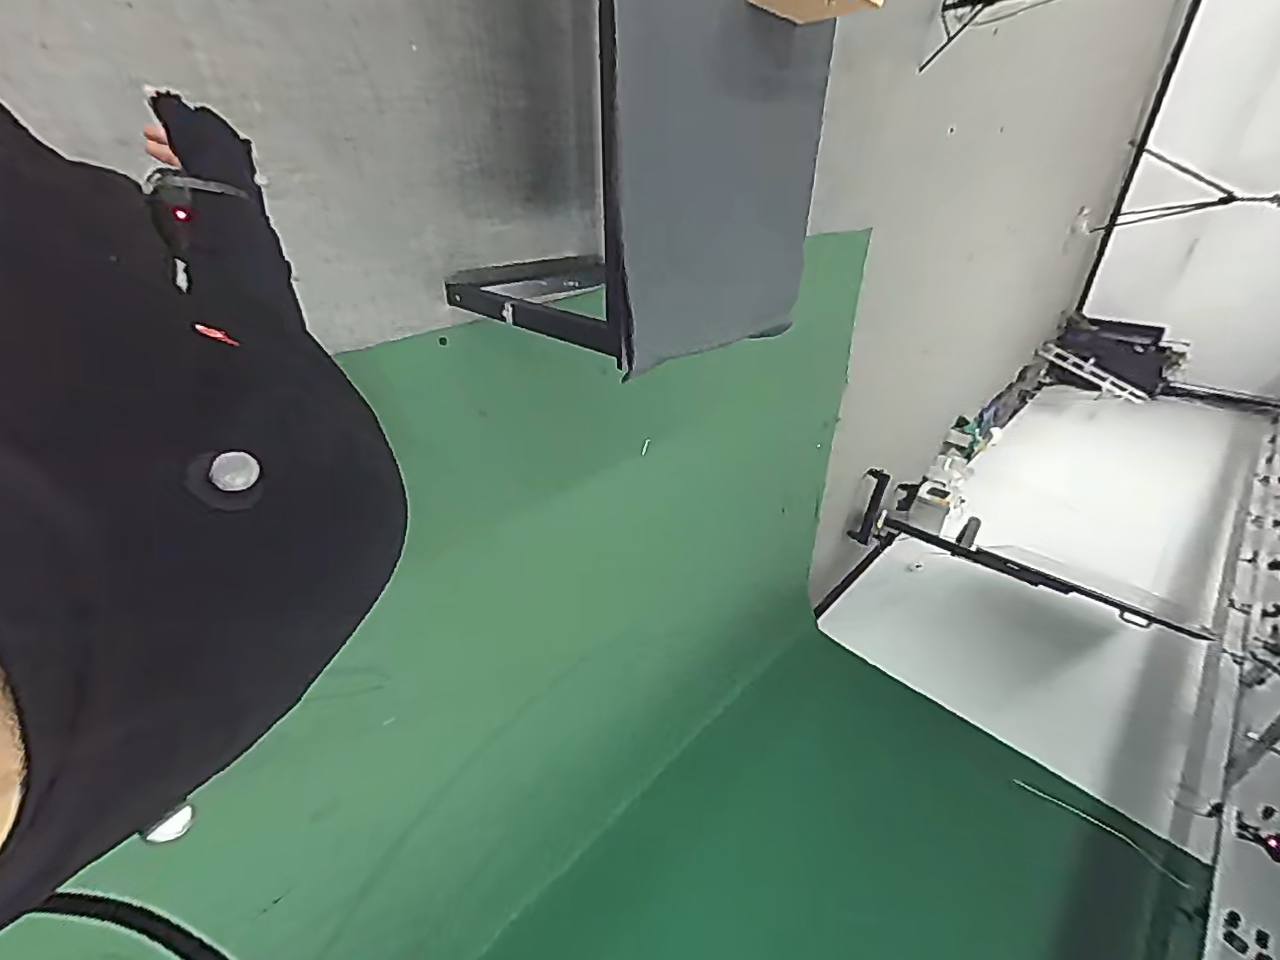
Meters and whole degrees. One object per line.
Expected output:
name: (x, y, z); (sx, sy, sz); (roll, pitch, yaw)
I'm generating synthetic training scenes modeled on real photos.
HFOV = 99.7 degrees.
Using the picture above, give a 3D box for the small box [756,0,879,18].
small box: (0.295, -0.892, 0.889); (0.179, 0.176, 0.168); (-23, 128, -39)
